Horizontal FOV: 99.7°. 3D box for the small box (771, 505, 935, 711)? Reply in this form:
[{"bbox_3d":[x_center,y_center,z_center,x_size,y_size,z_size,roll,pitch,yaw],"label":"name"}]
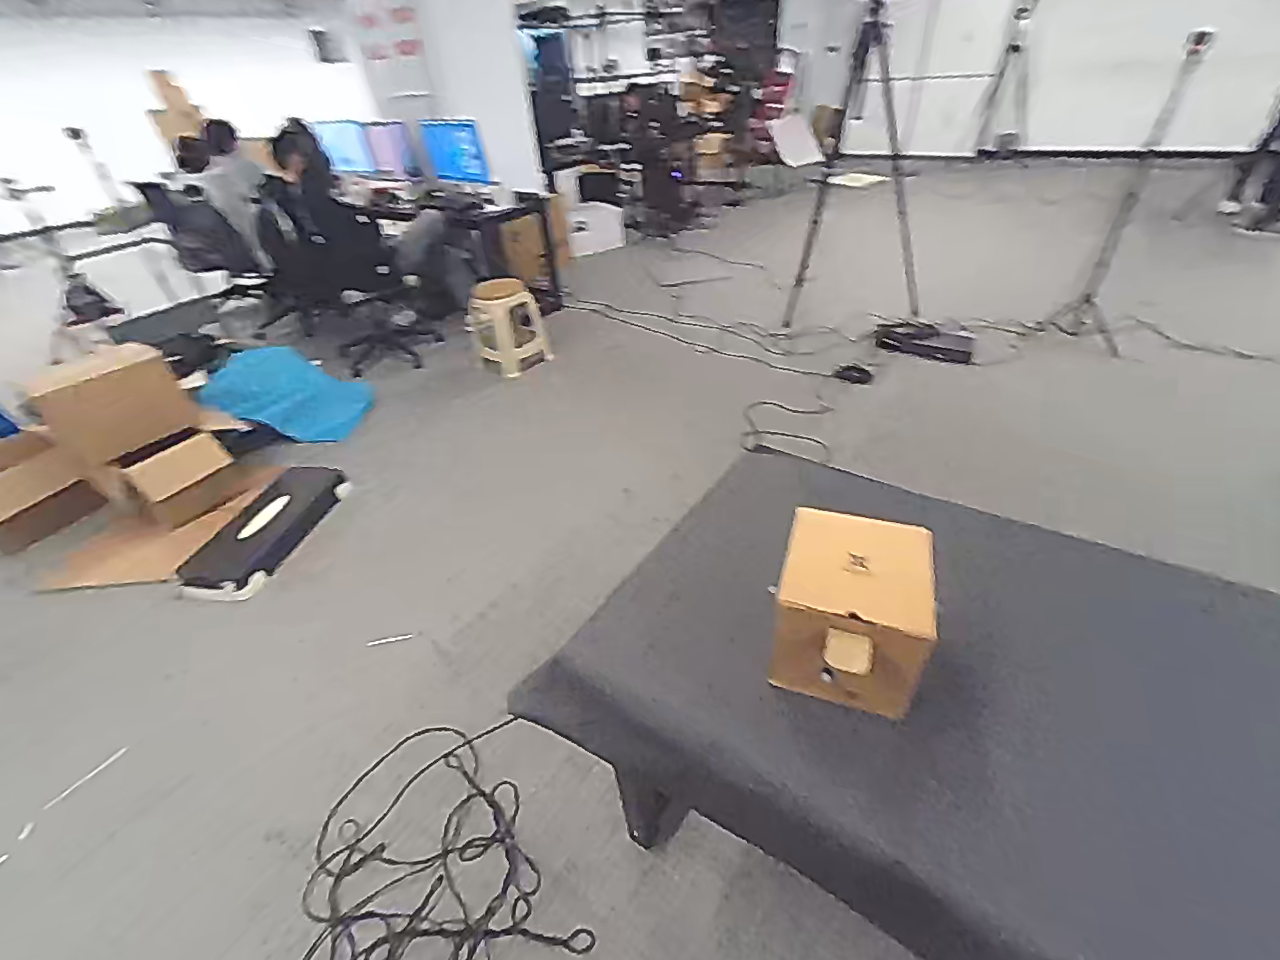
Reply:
[{"bbox_3d":[0.270,0.162,0.706,0.168,0.176,0.179,10,40,18],"label":"small box"}]
